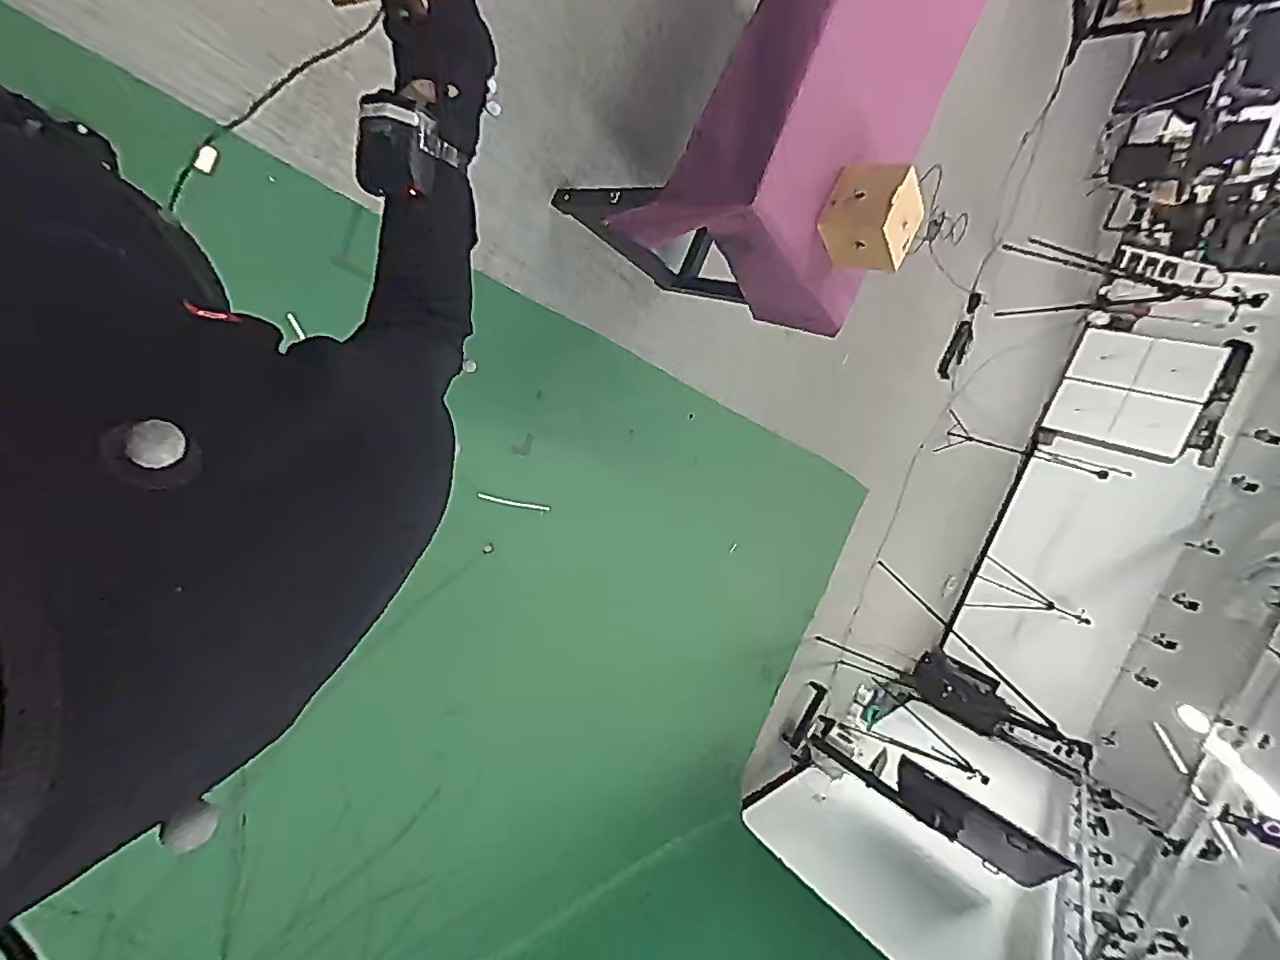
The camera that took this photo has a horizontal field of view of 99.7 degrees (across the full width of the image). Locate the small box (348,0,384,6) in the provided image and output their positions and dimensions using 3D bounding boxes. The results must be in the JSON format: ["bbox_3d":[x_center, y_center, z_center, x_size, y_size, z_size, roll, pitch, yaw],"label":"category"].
[{"bbox_3d":[-0.193,-0.529,0.447,0.179,0.176,0.168,-45,142,-20],"label":"small box"}]

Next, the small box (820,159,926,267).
[{"bbox_3d":[0.567,-0.646,1.322,0.179,0.176,0.168,28,89,-50],"label":"small box"}]
